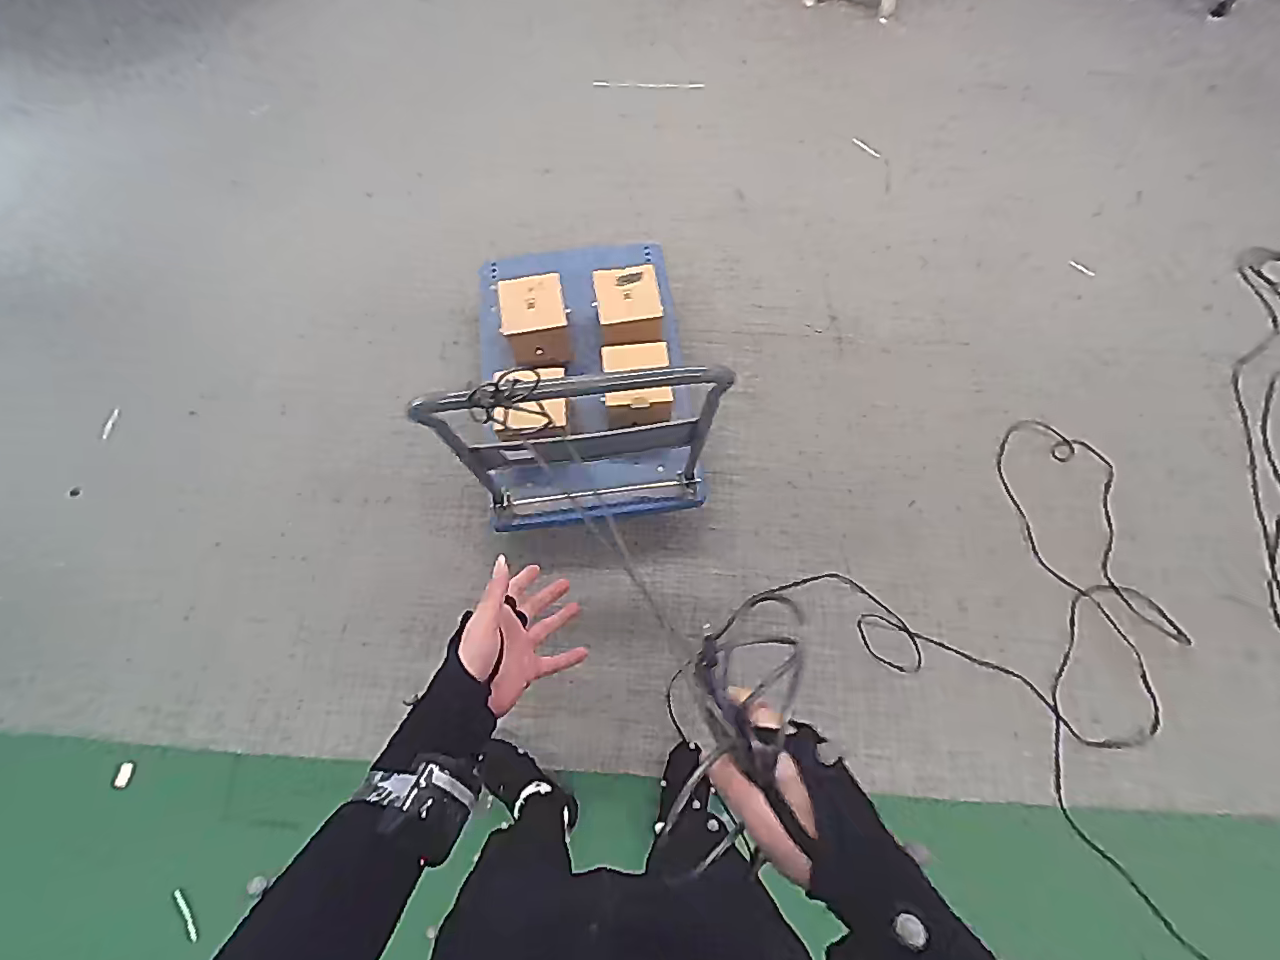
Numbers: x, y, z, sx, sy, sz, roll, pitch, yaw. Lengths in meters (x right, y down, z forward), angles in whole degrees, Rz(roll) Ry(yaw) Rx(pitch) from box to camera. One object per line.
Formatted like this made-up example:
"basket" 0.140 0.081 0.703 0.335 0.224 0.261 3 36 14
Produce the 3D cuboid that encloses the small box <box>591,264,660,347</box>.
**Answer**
"small box" -0.041 -0.467 1.509 0.168 0.176 0.179 -9 71 -2

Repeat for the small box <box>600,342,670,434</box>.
"small box" -0.015 -0.238 1.427 0.168 0.176 0.179 -6 71 -1

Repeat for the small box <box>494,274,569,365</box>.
"small box" -0.296 -0.435 1.500 0.168 0.176 0.179 -10 70 -4
